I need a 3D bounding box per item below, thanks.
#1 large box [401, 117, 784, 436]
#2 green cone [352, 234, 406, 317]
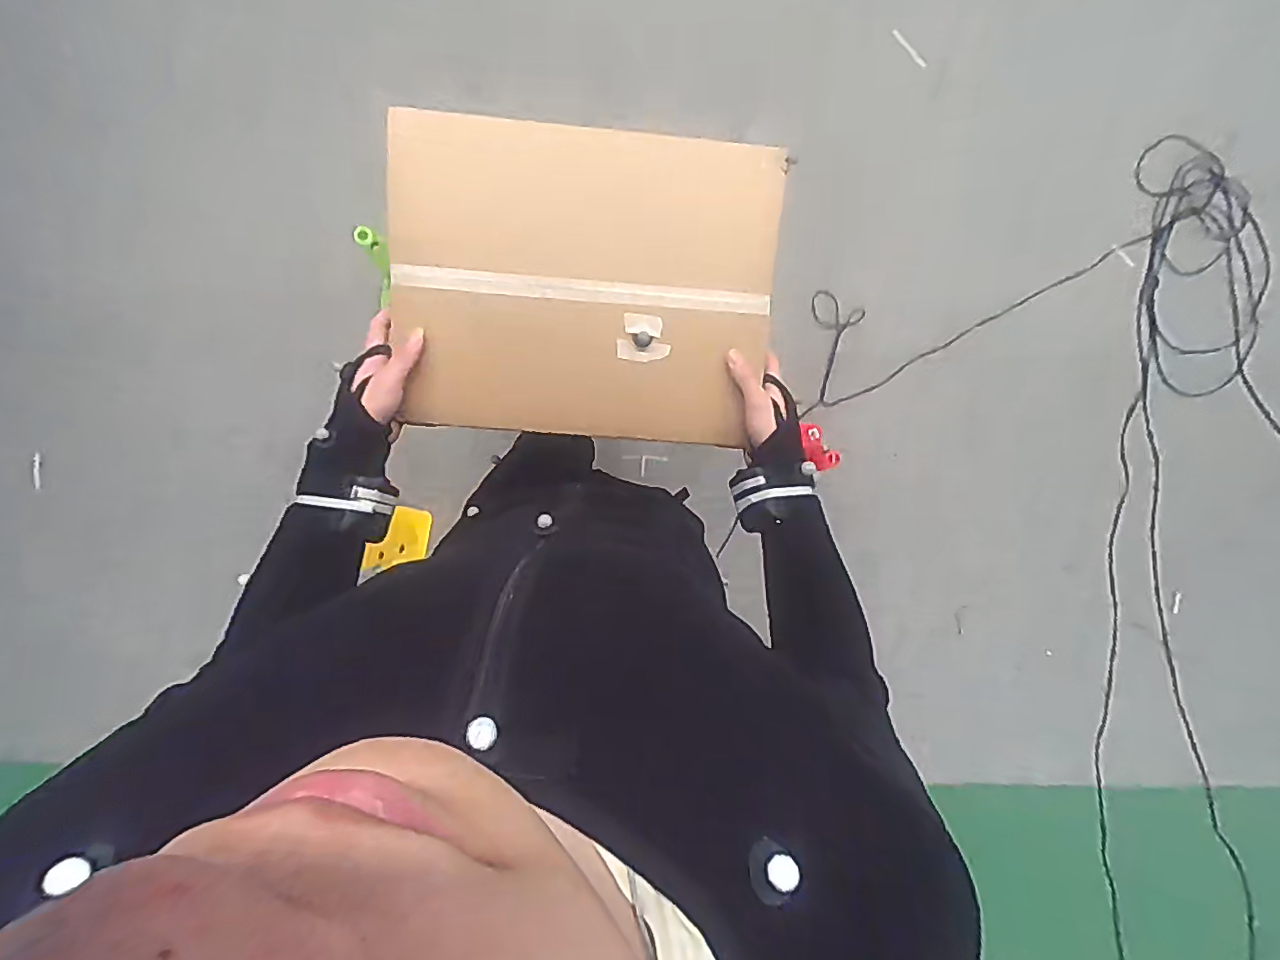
[{"bbox_3d":[-0.063,-0.239,0.733,0.408,0.320,0.320,3,103,-4],"label":"large box"},{"bbox_3d":[-0.630,-0.549,1.375,0.200,0.368,0.202,8,95,-3],"label":"green cone"}]
